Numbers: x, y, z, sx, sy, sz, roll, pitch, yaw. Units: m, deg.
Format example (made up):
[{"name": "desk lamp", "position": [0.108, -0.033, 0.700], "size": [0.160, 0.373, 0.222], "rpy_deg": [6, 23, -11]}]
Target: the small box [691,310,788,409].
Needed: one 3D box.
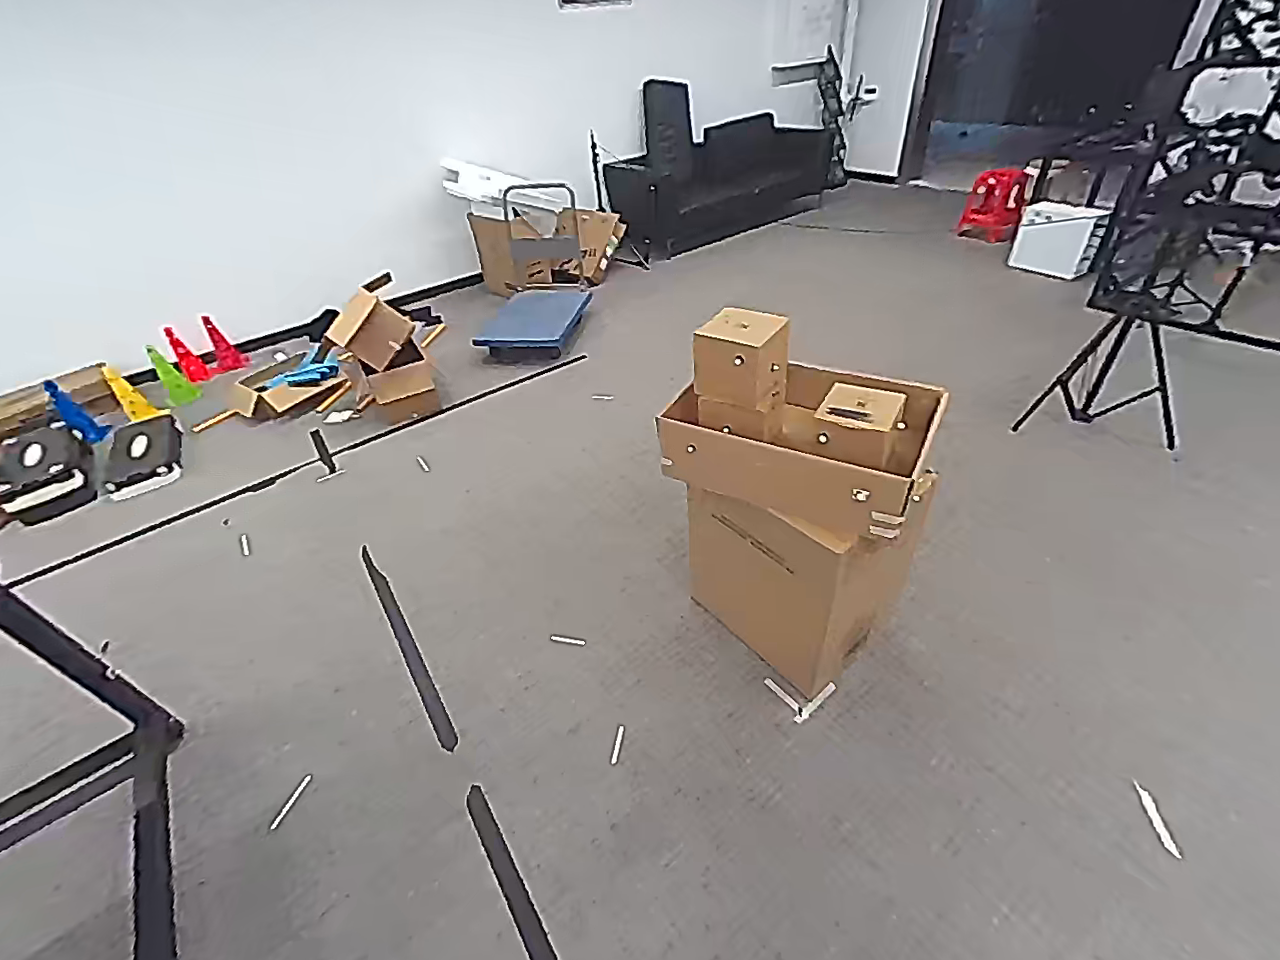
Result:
[{"name": "small box", "position": [0.245, -0.295, 1.331], "size": [0.179, 0.176, 0.168], "rpy_deg": [21, 47, 31]}]
